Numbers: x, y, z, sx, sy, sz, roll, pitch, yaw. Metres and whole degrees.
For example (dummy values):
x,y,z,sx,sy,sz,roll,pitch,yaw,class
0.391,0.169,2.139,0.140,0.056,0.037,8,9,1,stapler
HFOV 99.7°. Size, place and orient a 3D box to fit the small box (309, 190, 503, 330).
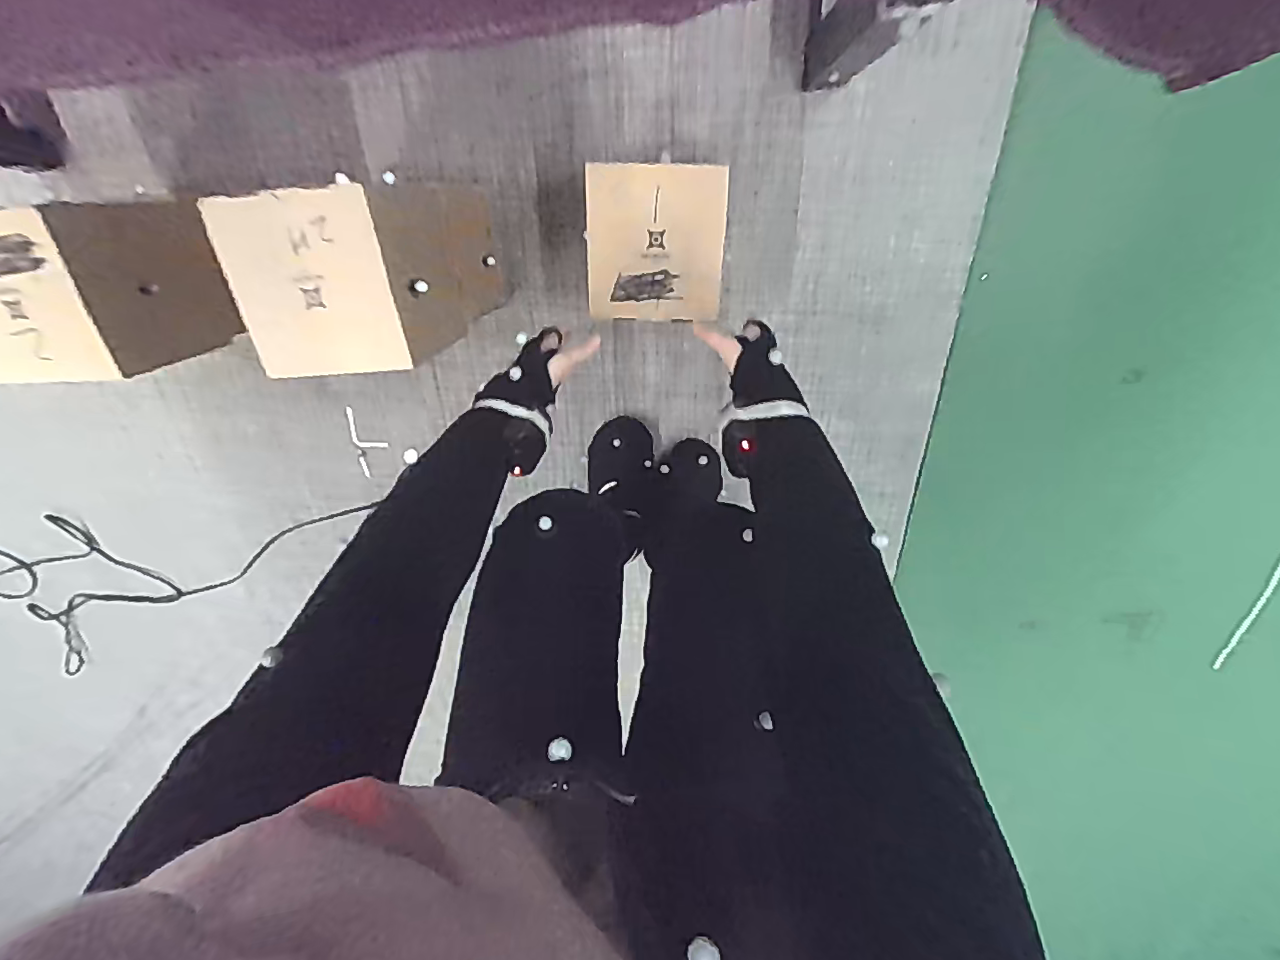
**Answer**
x,y,z,sx,sy,sz,roll,pitch,yaw,class
-0.313,-0.310,0.763,0.179,0.176,0.168,-1,117,5,small box
